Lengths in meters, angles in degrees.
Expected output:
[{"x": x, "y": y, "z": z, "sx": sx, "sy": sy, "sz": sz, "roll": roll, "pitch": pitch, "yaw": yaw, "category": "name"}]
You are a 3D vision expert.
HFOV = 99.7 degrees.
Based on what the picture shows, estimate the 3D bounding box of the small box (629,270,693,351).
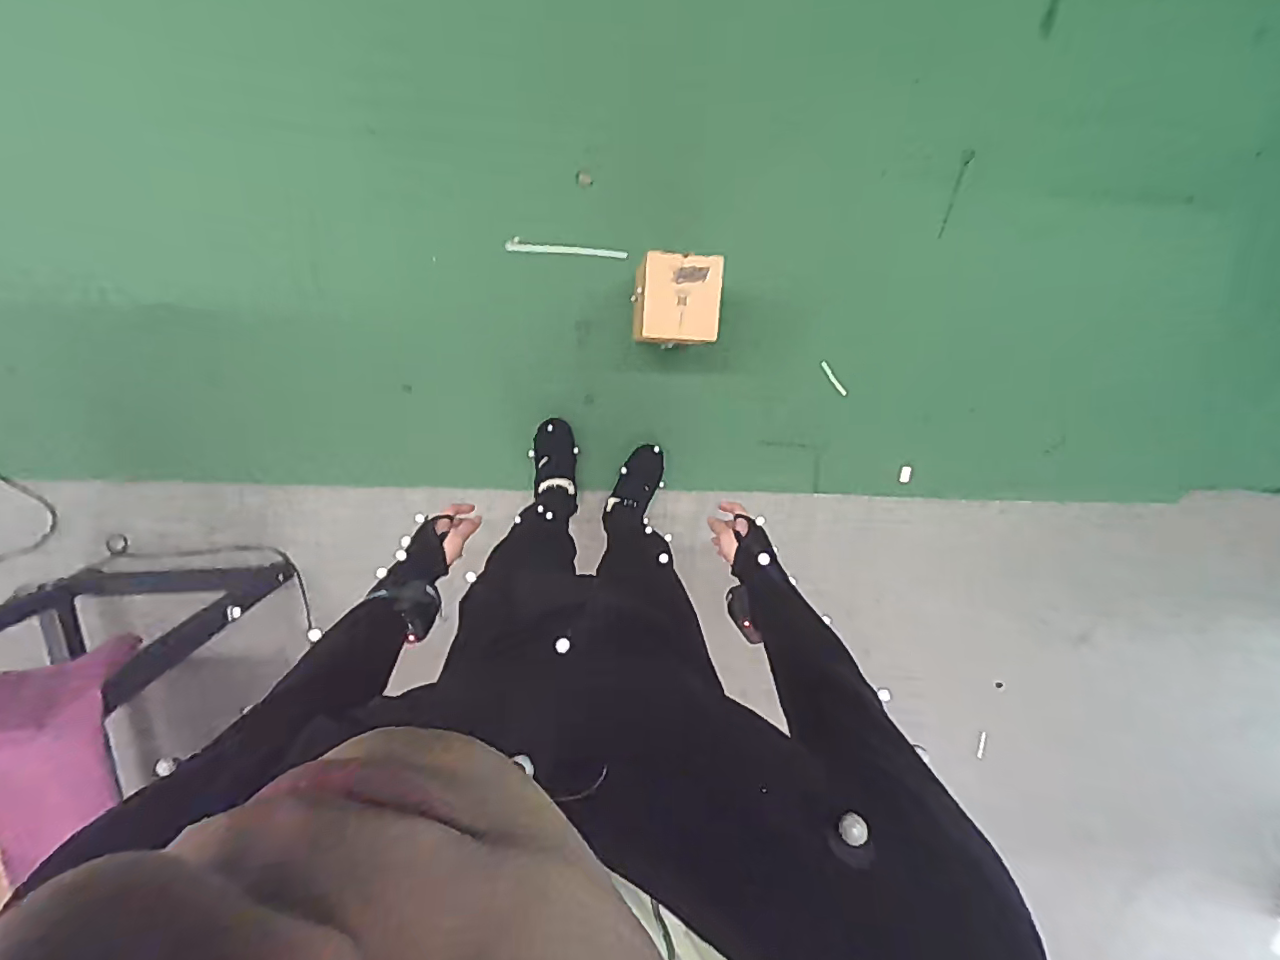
[{"x": 0.061, "y": -0.429, "z": 1.390, "sx": 0.168, "sy": 0.176, "sz": 0.179, "roll": 2, "pitch": 102, "yaw": -6, "category": "small box"}]

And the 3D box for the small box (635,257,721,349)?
[{"x": 0.078, "y": -0.395, "z": 1.230, "sx": 0.168, "sy": 0.176, "sz": 0.179, "roll": 2, "pitch": 103, "yaw": -6, "category": "small box"}]
